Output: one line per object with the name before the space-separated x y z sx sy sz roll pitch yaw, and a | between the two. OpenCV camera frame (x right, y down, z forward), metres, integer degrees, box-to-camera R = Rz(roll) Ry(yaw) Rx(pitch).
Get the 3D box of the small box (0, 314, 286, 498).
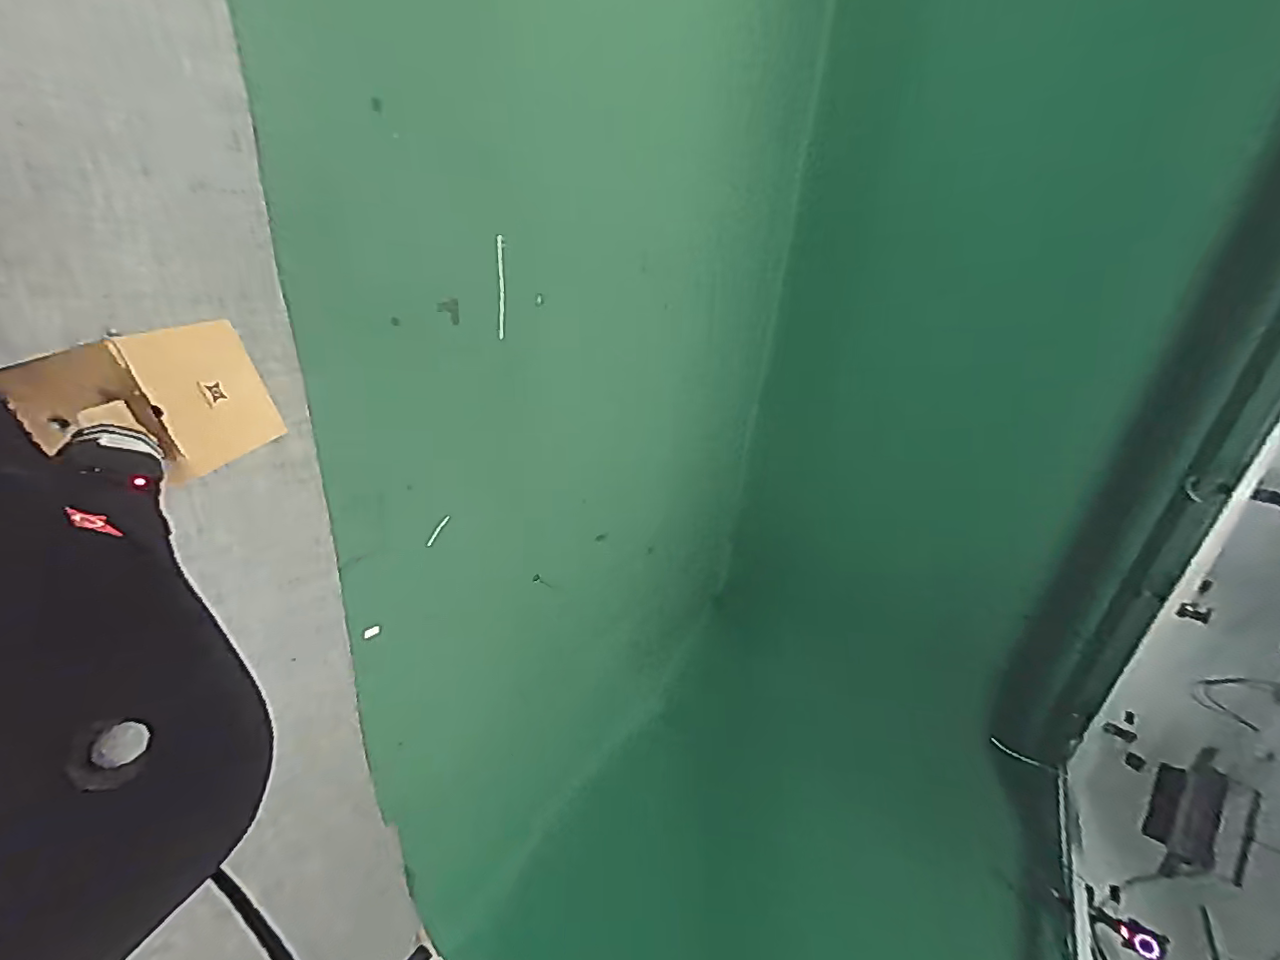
small box | -0.596 -0.096 0.664 0.179 0.176 0.168 -88 165 -66
